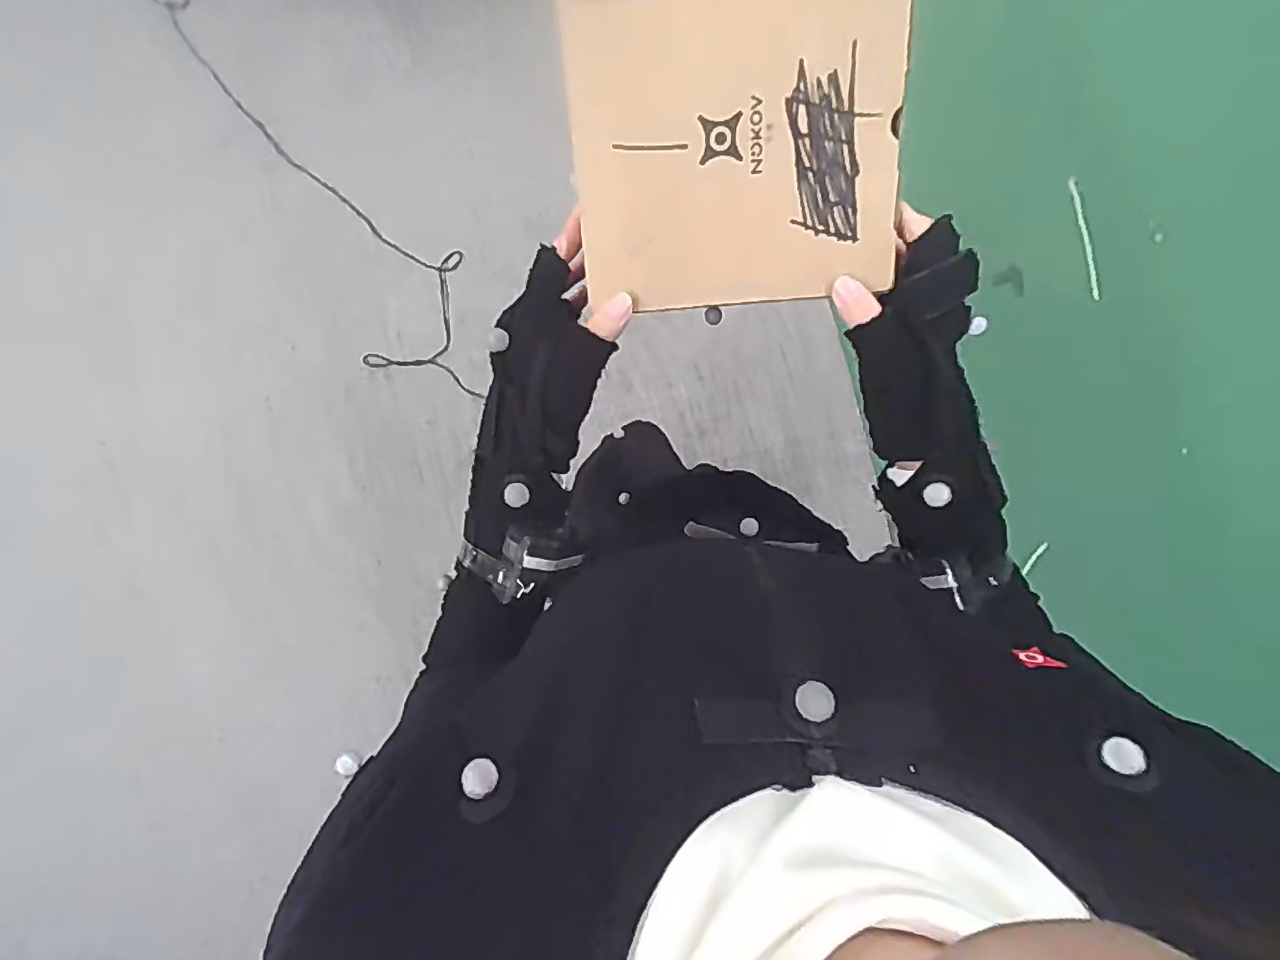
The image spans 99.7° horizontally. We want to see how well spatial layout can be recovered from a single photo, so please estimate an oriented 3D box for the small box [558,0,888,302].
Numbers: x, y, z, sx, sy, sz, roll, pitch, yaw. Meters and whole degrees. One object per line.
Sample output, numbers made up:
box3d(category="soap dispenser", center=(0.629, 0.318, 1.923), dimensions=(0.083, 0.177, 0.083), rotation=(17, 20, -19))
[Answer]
box3d(category="small box", center=(0.048, -0.219, 0.381), dimensions=(0.179, 0.176, 0.168), rotation=(-3, 110, 3))
